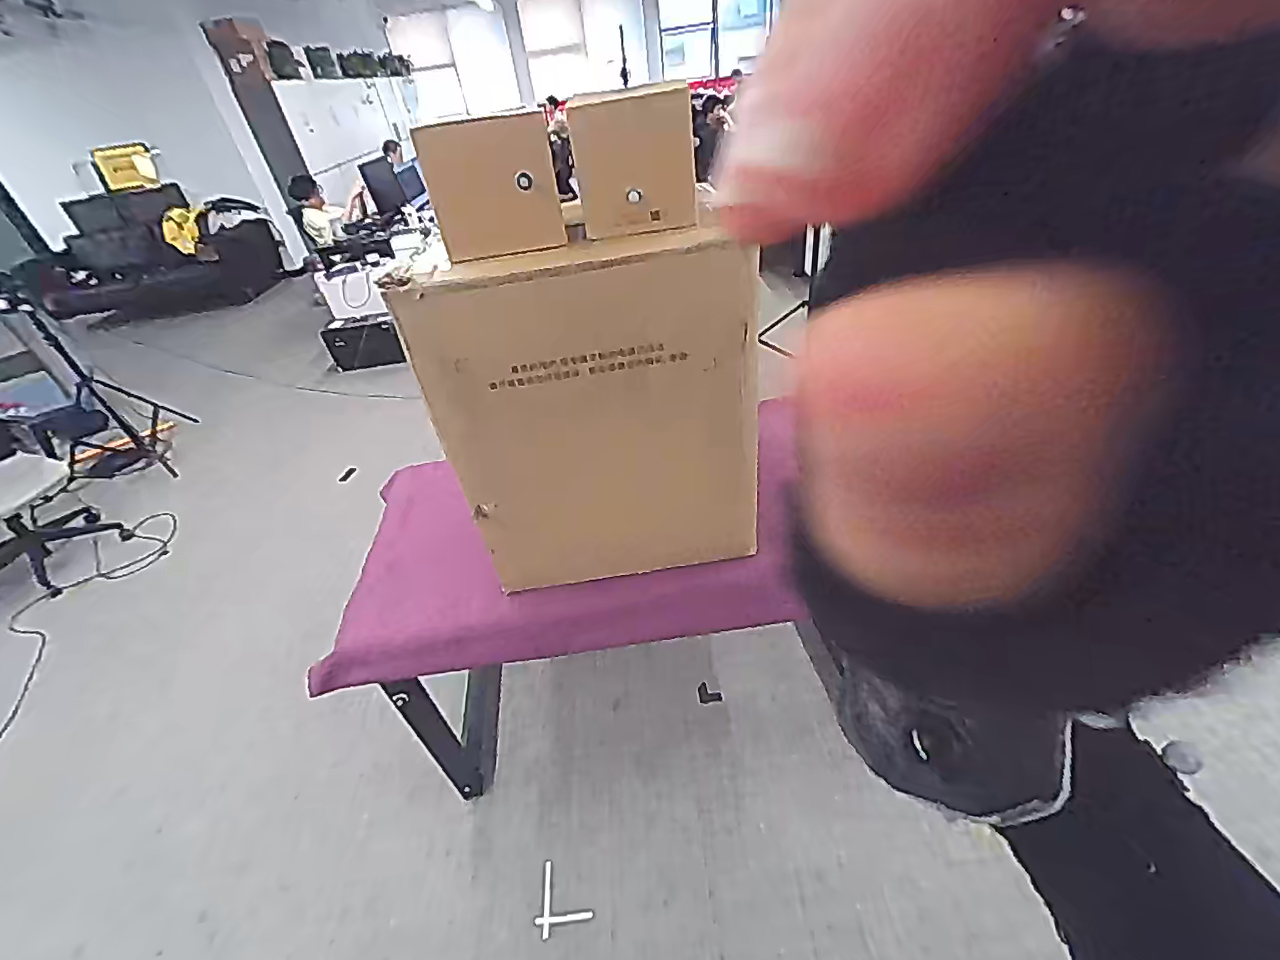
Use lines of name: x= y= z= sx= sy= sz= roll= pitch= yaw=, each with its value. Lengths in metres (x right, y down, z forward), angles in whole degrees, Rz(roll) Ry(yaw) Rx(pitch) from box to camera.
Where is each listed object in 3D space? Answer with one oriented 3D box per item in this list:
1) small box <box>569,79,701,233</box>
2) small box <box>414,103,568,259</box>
small box: x=-0.002 y=-0.482 z=0.808 sx=0.168 sy=0.176 sz=0.179 roll=-7 pitch=38 yaw=4
small box: x=-0.206 y=-0.442 z=0.797 sx=0.179 sy=0.176 sz=0.168 roll=-12 pitch=36 yaw=-5
